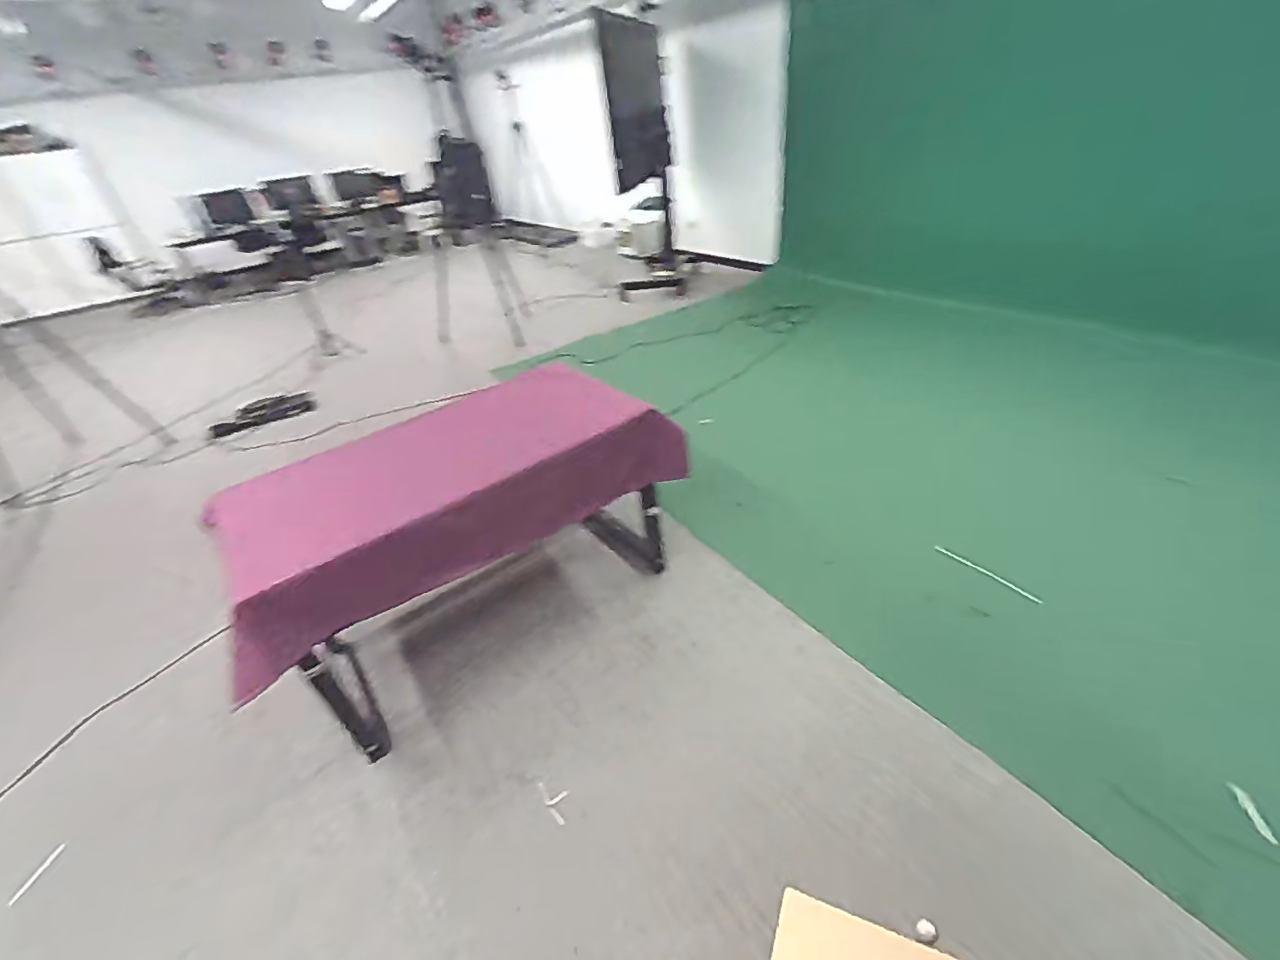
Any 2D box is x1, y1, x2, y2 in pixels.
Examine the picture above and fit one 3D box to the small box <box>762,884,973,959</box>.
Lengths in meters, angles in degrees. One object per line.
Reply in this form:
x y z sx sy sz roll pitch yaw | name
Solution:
0.192 0.436 0.389 0.179 0.176 0.168 -6 45 38 | small box
